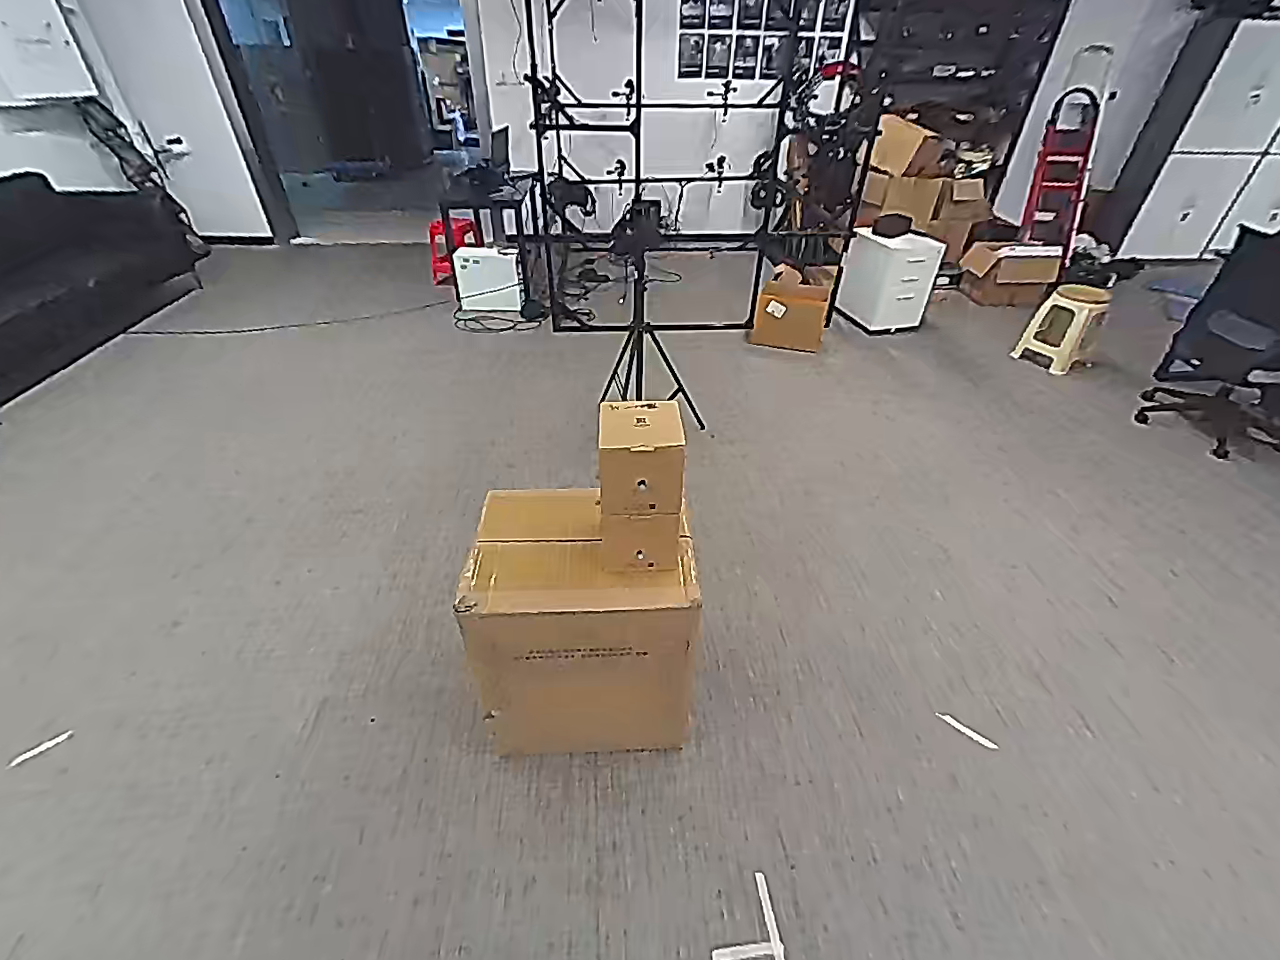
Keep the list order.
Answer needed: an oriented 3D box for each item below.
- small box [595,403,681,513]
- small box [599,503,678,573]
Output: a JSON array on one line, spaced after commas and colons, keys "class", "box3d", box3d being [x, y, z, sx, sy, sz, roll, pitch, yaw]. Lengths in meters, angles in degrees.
[{"class": "small box", "box3d": [-0.004, -0.042, 1.131, 0.168, 0.176, 0.179, -2, 39, -2]}, {"class": "small box", "box3d": [-0.008, 0.090, 1.228, 0.168, 0.176, 0.179, -2, 38, -2]}]
